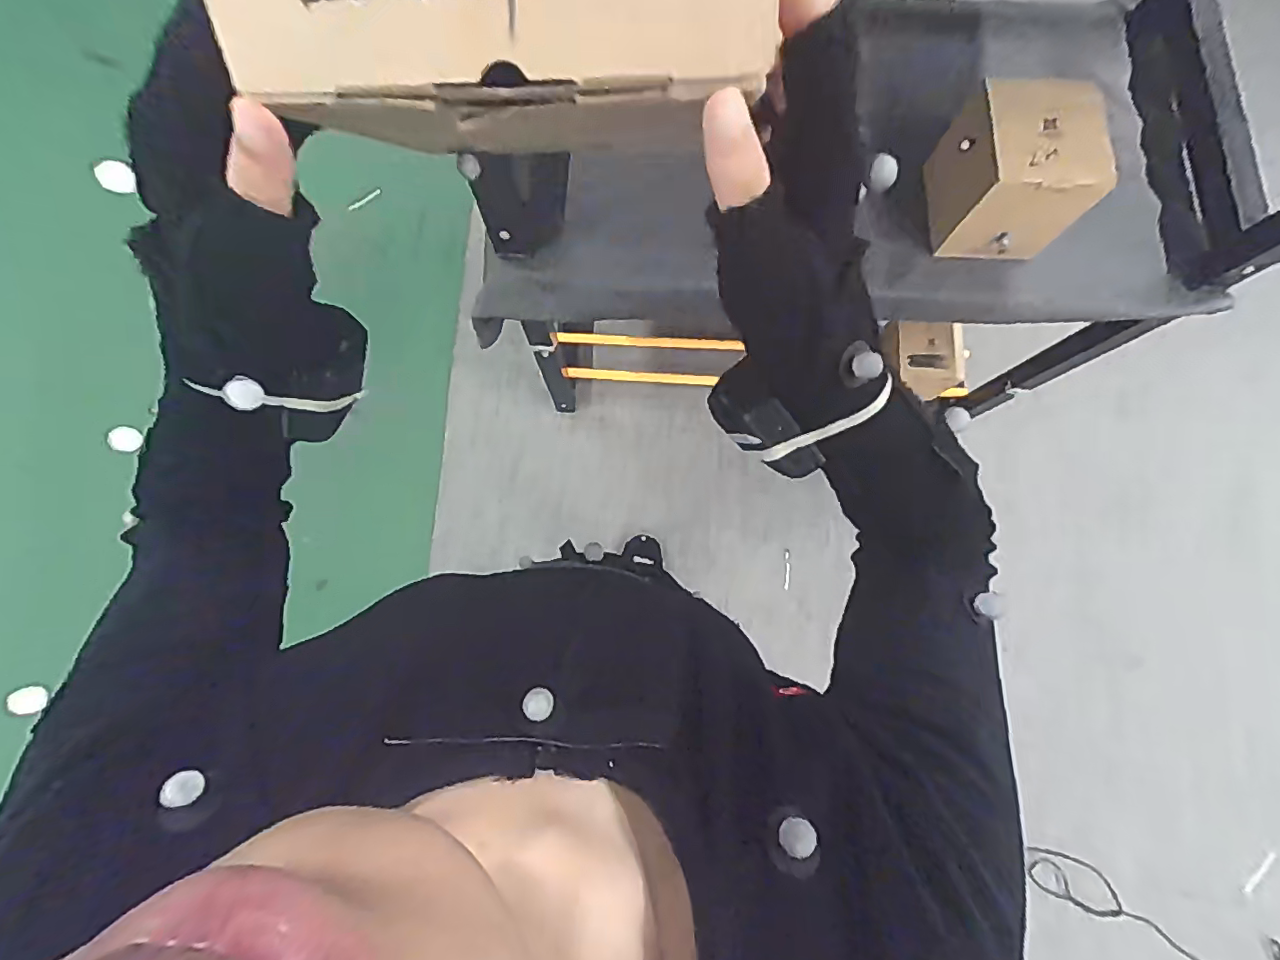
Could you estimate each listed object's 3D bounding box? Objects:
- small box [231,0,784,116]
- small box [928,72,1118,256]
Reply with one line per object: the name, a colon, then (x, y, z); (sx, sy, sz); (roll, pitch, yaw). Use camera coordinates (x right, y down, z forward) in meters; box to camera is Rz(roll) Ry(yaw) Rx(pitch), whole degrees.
small box: (-0.039, -0.244, 0.193); (0.168, 0.176, 0.179); (-2, 115, 0)
small box: (0.565, -0.474, 0.826); (0.168, 0.176, 0.179); (1, 77, 0)
